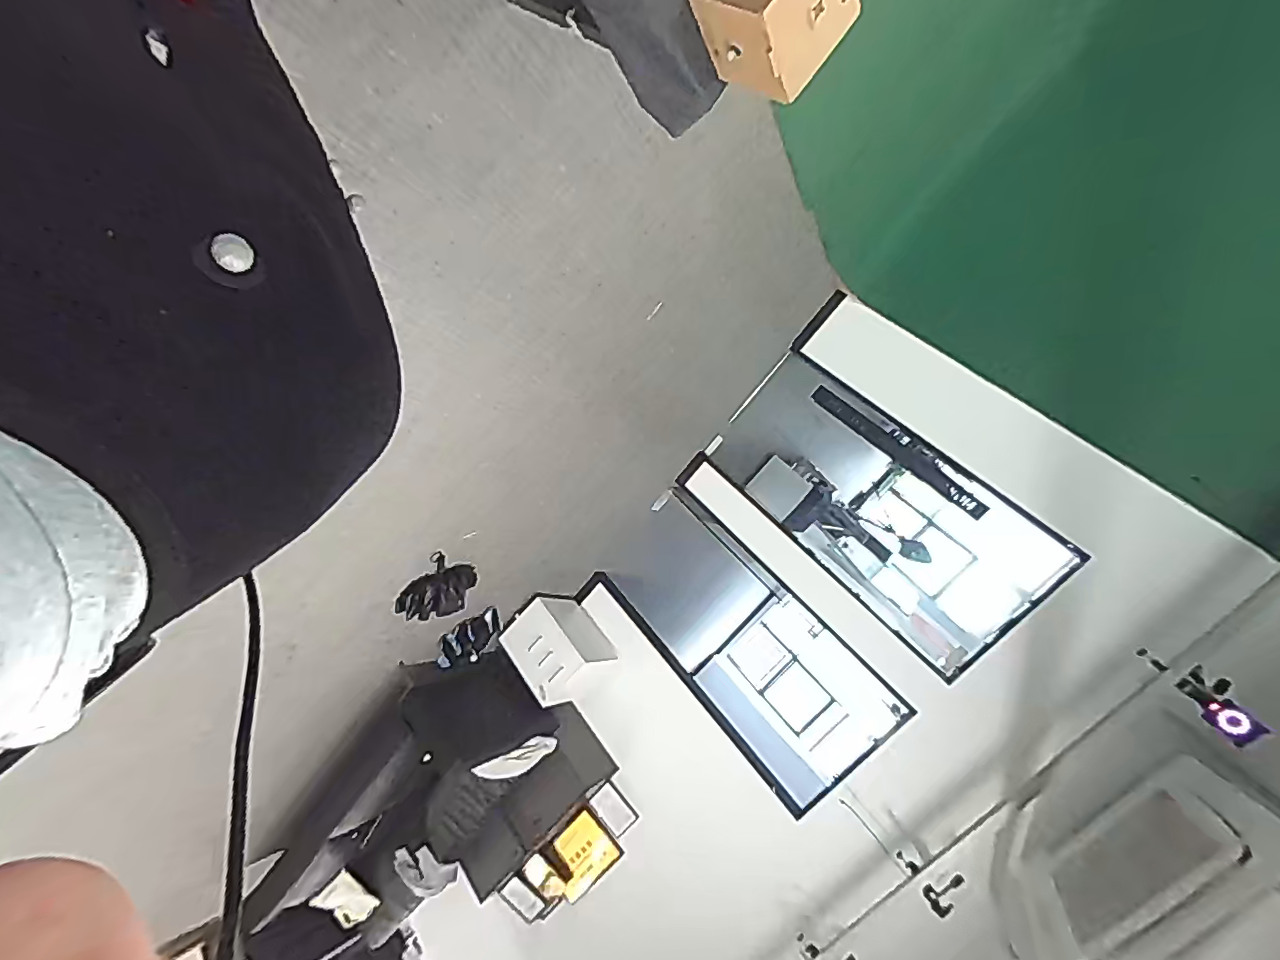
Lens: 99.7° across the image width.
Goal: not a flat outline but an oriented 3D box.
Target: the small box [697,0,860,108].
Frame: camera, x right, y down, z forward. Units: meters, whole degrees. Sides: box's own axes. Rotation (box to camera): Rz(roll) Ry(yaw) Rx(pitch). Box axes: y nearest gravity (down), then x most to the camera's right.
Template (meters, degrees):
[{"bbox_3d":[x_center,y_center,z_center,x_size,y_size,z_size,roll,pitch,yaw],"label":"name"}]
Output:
[{"bbox_3d":[0.213,-0.746,0.854,0.179,0.176,0.168,-50,151,9],"label":"small box"}]
